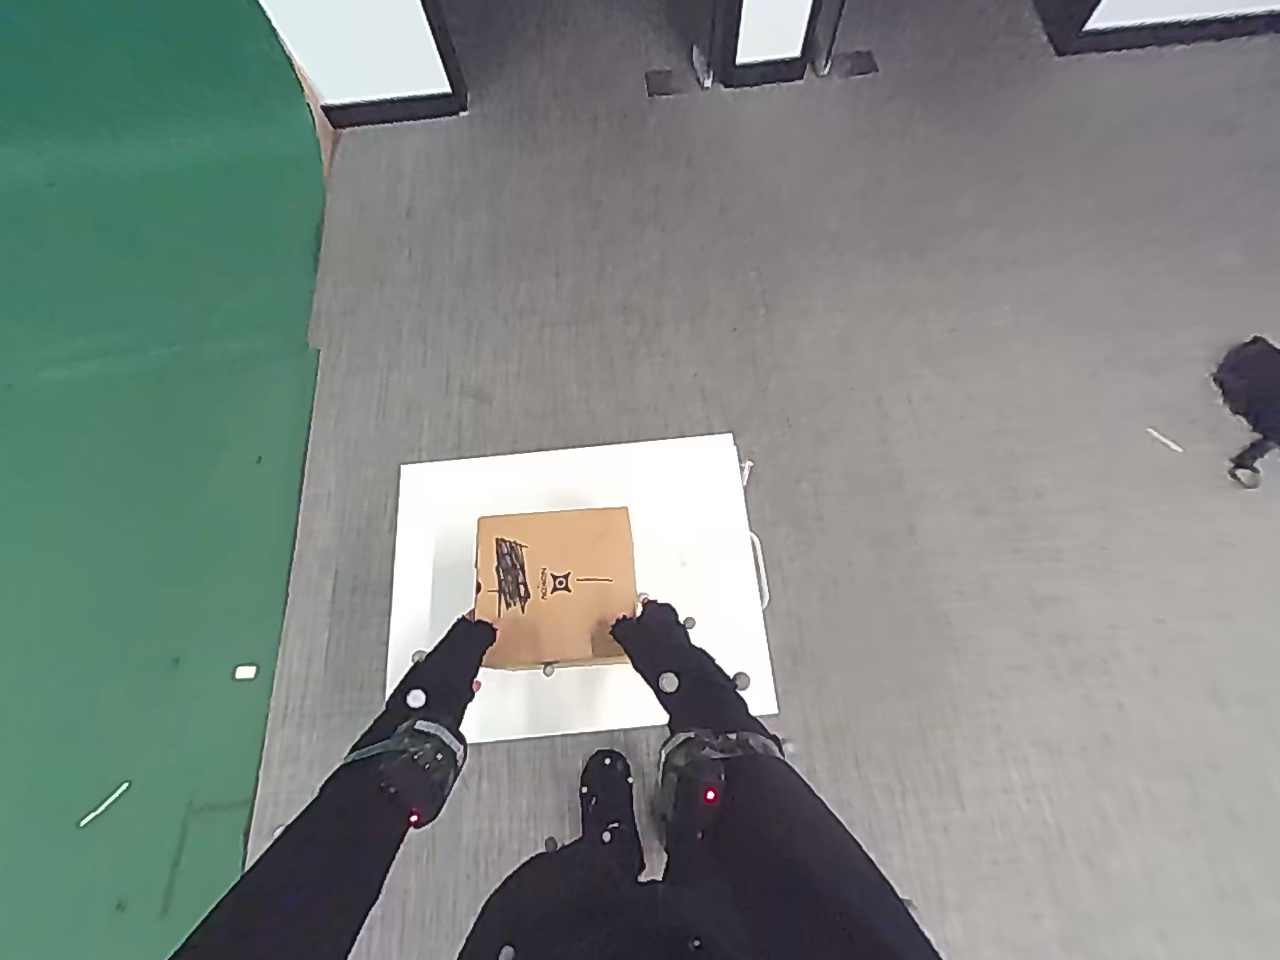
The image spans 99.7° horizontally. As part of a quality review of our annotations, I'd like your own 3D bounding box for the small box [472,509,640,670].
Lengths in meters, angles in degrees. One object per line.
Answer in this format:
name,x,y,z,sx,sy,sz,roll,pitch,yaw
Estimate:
small box,-0.093,0.143,0.674,0.179,0.176,0.168,-4,69,0
